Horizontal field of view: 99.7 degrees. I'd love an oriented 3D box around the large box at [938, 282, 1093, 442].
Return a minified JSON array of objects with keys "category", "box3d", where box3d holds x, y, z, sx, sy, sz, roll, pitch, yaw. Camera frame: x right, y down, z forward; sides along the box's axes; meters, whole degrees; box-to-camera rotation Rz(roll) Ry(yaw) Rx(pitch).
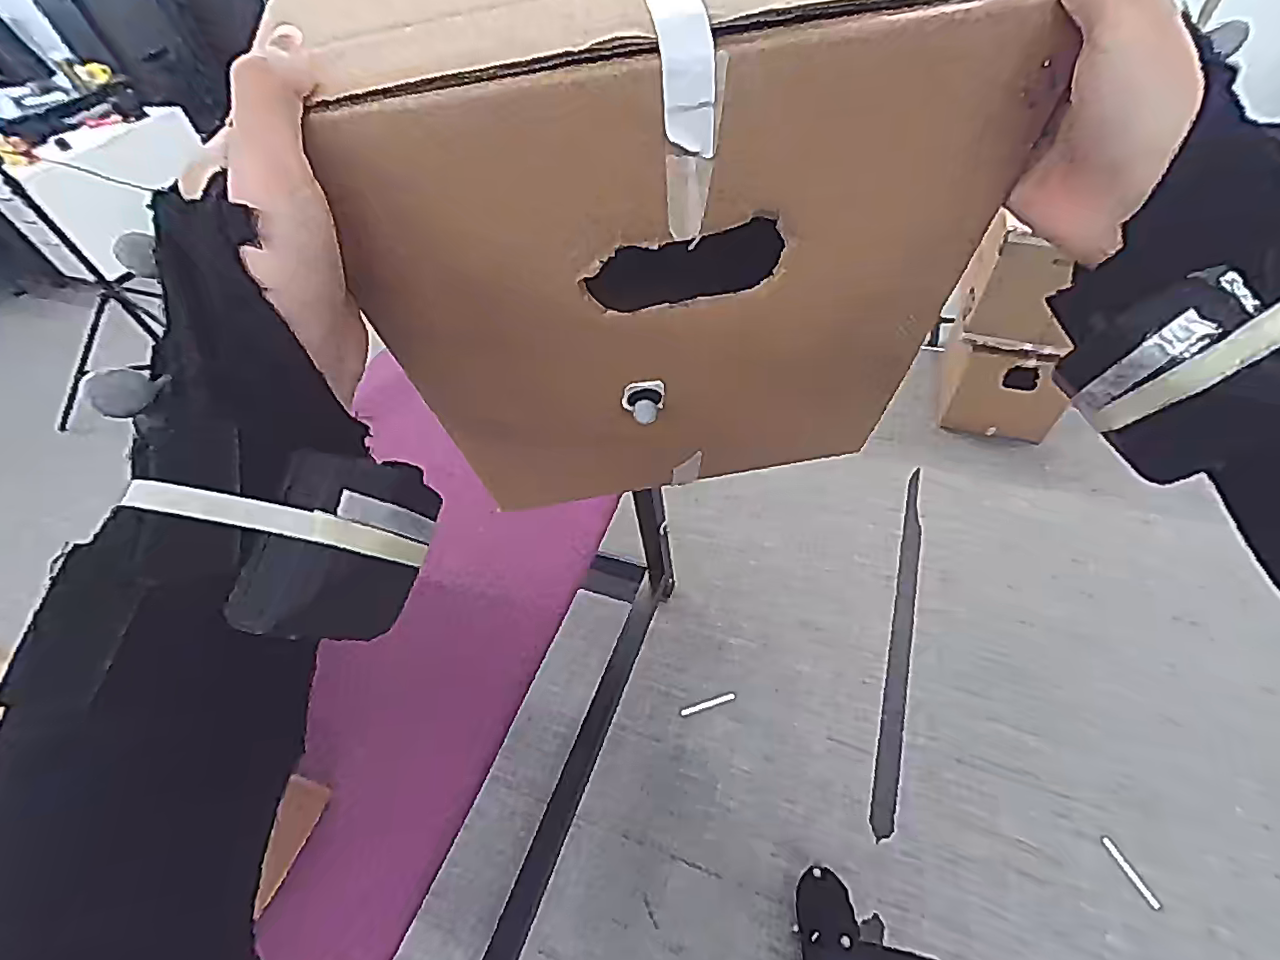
[{"category":"large box","box3d":[1.192,-0.391,1.770,0.320,0.320,0.408,12,54,17]}]
